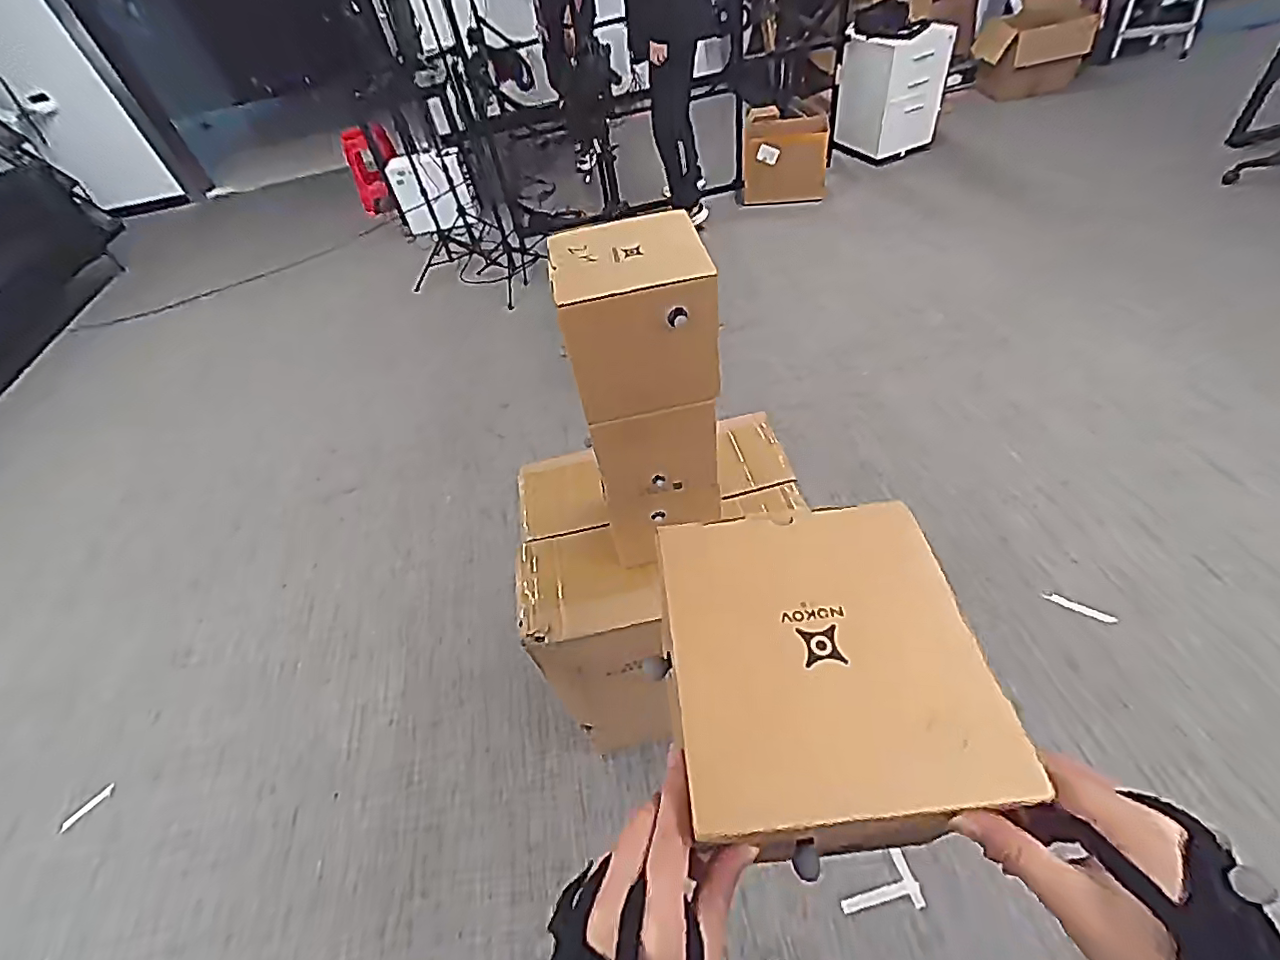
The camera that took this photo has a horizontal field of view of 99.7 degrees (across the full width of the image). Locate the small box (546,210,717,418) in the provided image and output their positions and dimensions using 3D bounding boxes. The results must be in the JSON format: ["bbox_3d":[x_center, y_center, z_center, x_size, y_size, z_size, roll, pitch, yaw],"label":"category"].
[{"bbox_3d":[-0.008,-0.201,0.669,0.179,0.176,0.168,-12,48,0],"label":"small box"}]

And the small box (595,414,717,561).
[{"bbox_3d":[0.031,0.018,0.912,0.179,0.176,0.168,-11,48,0],"label":"small box"}]

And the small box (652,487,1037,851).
[{"bbox_3d":[0.104,0.132,0.362,0.168,0.176,0.179,-8,48,0],"label":"small box"}]
